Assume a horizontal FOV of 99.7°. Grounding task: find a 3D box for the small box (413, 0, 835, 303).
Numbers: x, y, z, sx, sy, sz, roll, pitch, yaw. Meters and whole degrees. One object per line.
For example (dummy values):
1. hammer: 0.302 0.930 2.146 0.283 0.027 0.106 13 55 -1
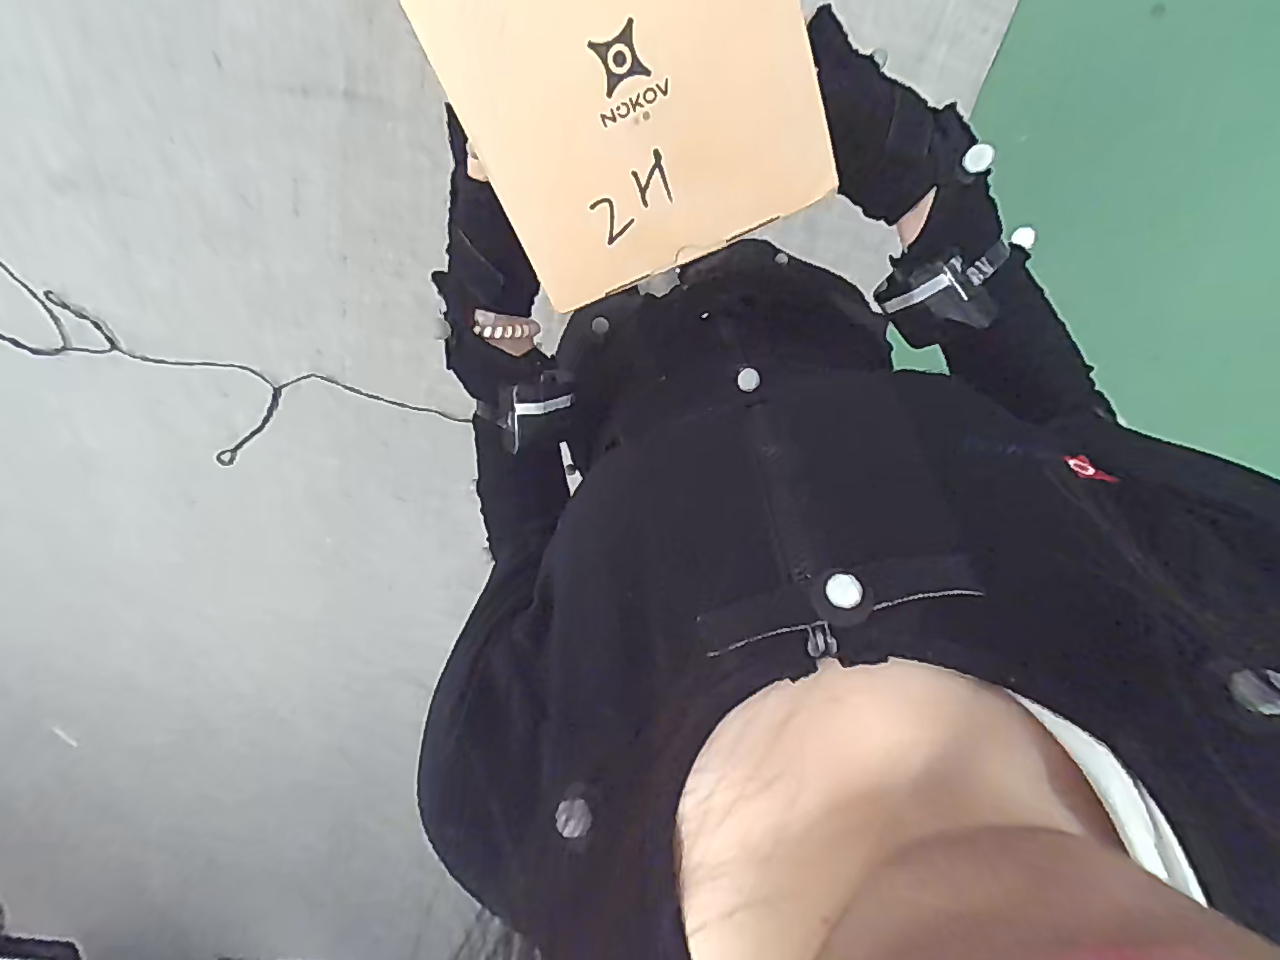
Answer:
1. small box: -0.002 -0.236 0.325 0.168 0.176 0.179 -18 119 15
